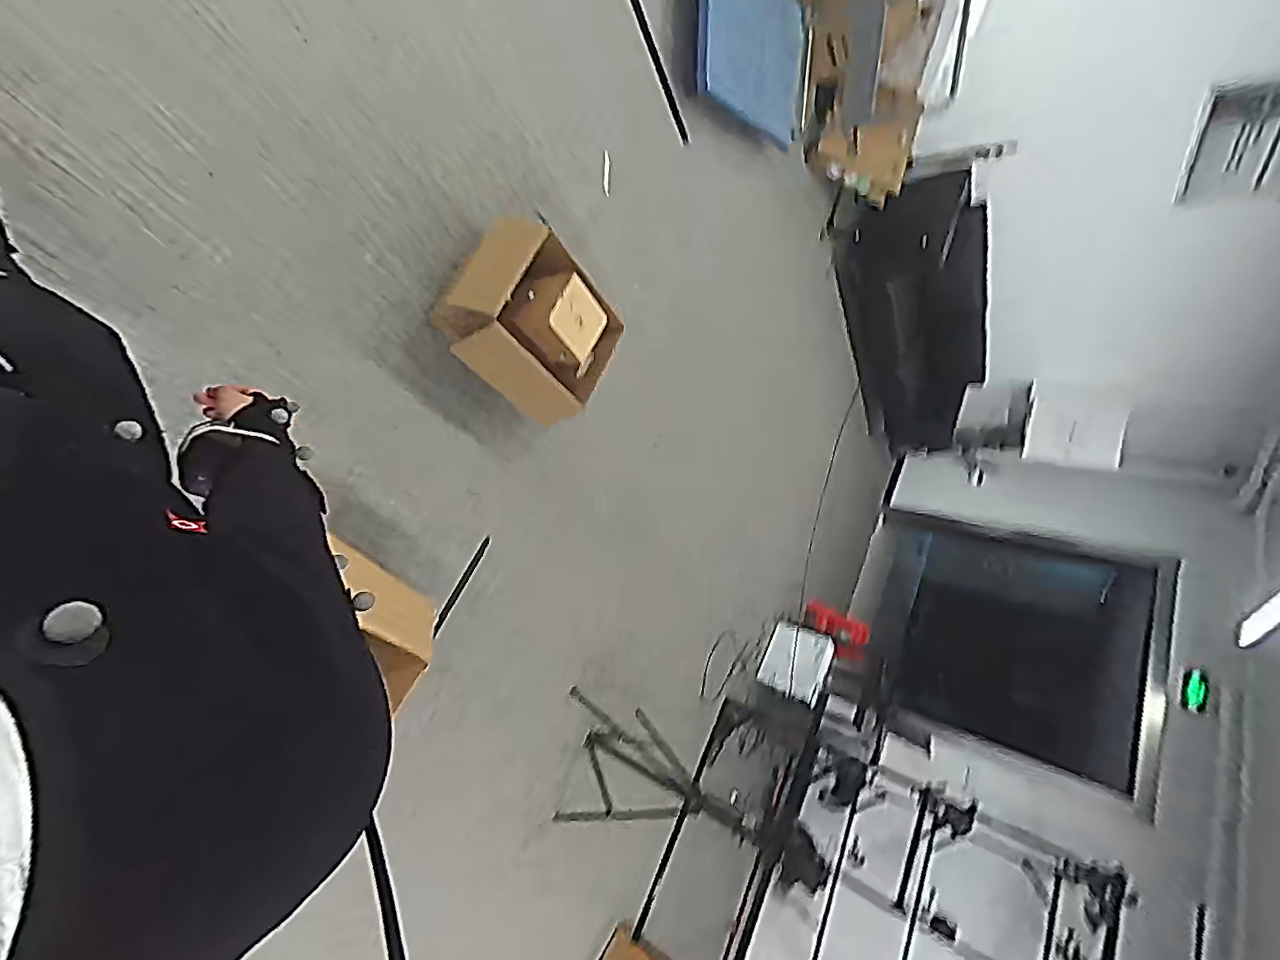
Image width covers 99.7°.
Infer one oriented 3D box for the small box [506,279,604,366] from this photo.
[{"bbox_3d":[-0.238,-0.443,1.523,0.179,0.176,0.168,47,62,-48],"label":"small box"}]
